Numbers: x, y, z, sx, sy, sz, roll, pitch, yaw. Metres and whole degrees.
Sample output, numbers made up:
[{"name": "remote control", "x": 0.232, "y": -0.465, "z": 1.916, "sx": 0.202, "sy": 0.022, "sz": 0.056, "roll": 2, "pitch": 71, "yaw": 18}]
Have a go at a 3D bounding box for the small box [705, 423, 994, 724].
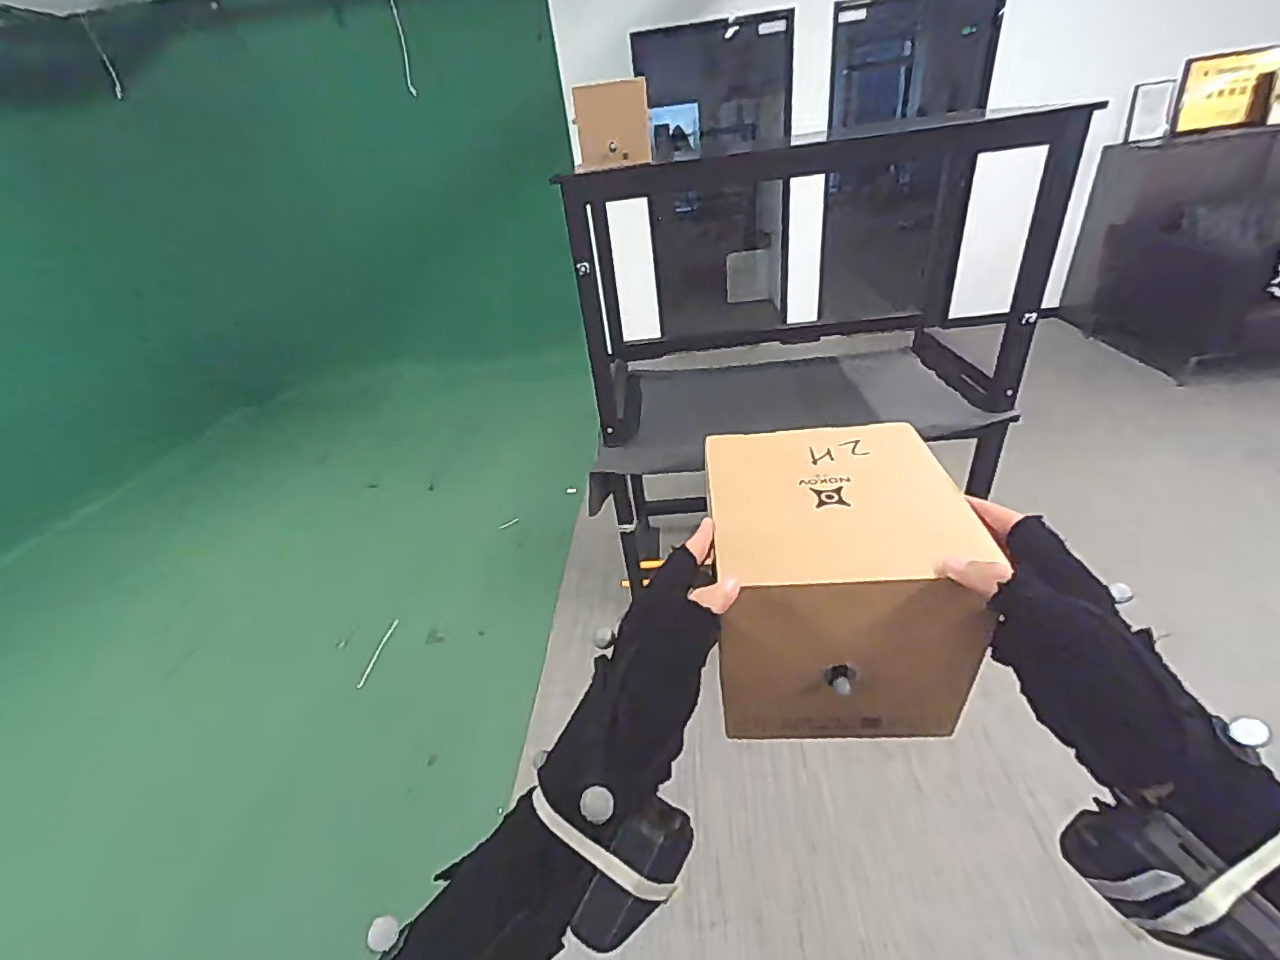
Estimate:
[{"name": "small box", "x": 0.141, "y": 0.073, "z": 0.432, "sx": 0.168, "sy": 0.176, "sz": 0.179, "roll": -3, "pitch": 34, "yaw": 6}]
